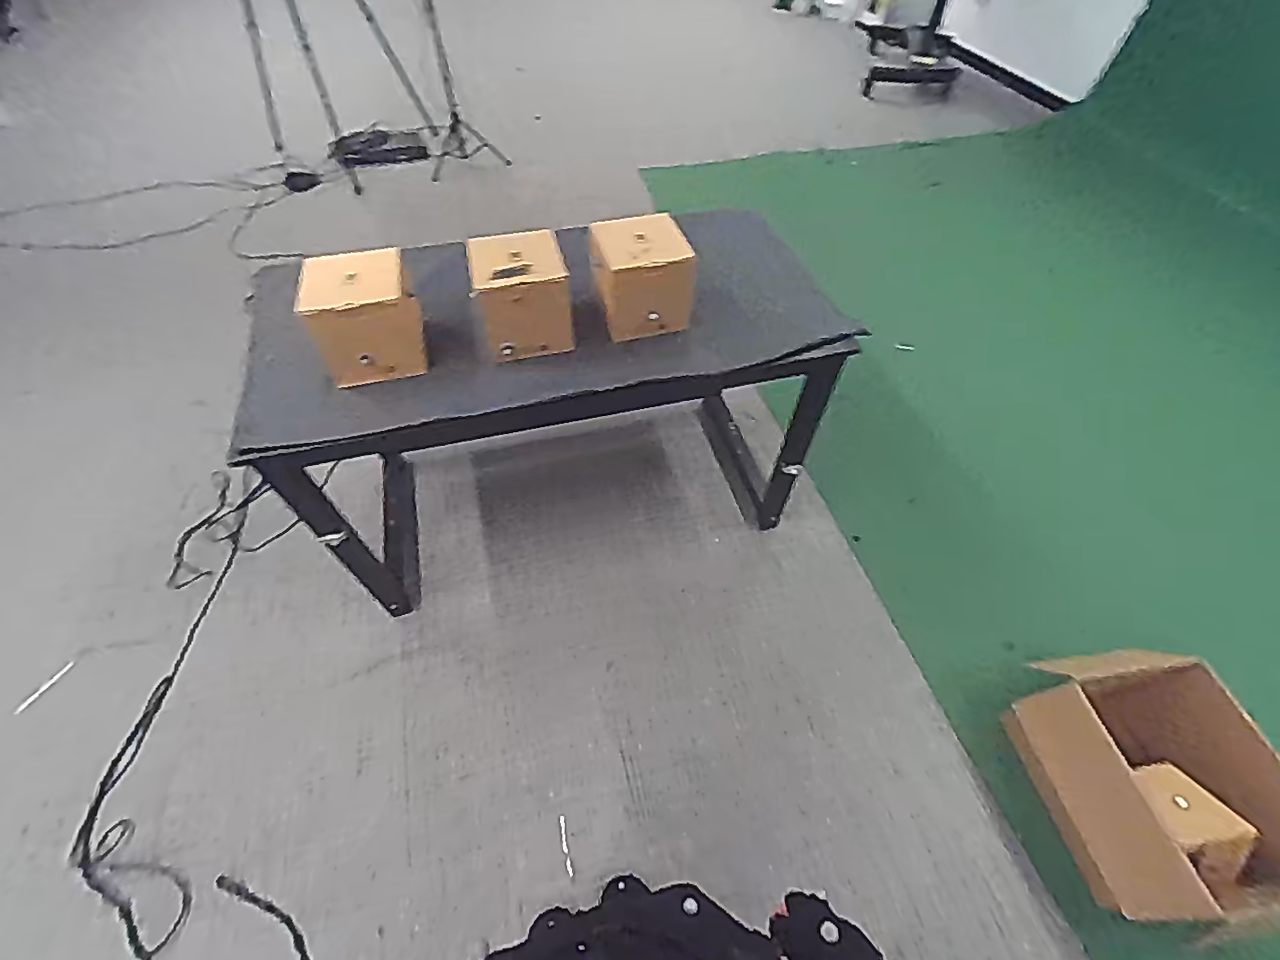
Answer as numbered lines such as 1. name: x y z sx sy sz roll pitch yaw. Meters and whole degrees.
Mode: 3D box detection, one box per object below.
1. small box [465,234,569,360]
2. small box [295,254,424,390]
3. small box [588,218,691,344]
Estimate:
1. small box: -0.239 -0.355 1.068 0.168 0.176 0.179 -12 54 -10
2. small box: -0.516 -0.297 1.017 0.168 0.176 0.179 -13 54 -12
3. small box: -0.007 -0.409 1.114 0.168 0.176 0.179 -13 55 -11
